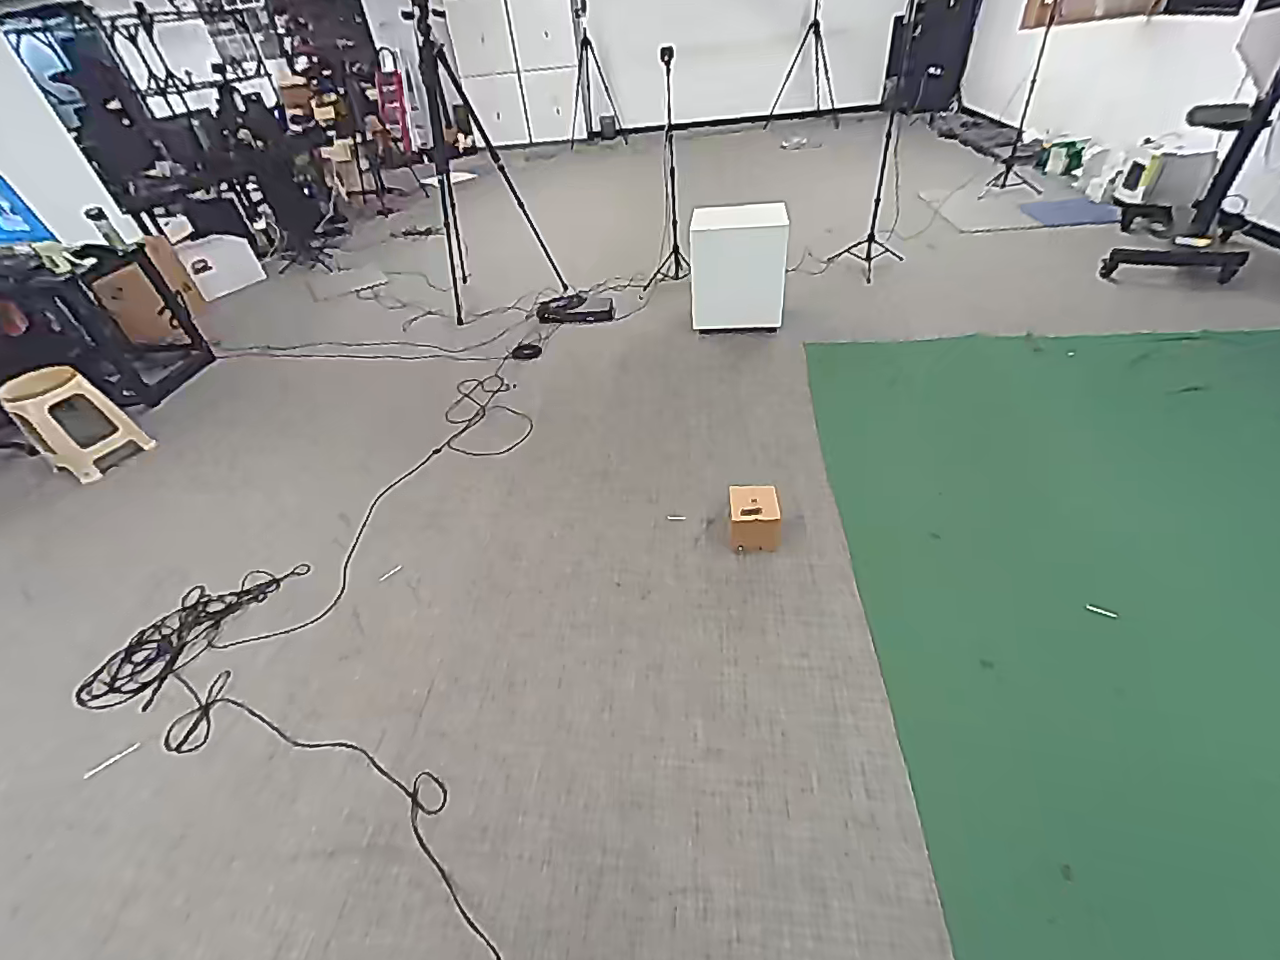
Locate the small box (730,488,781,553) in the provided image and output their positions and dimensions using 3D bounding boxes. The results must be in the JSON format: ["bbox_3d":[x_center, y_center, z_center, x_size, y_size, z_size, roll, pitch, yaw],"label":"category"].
[{"bbox_3d":[0.413,0.151,1.944,0.168,0.176,0.179,-1,41,6],"label":"small box"}]
